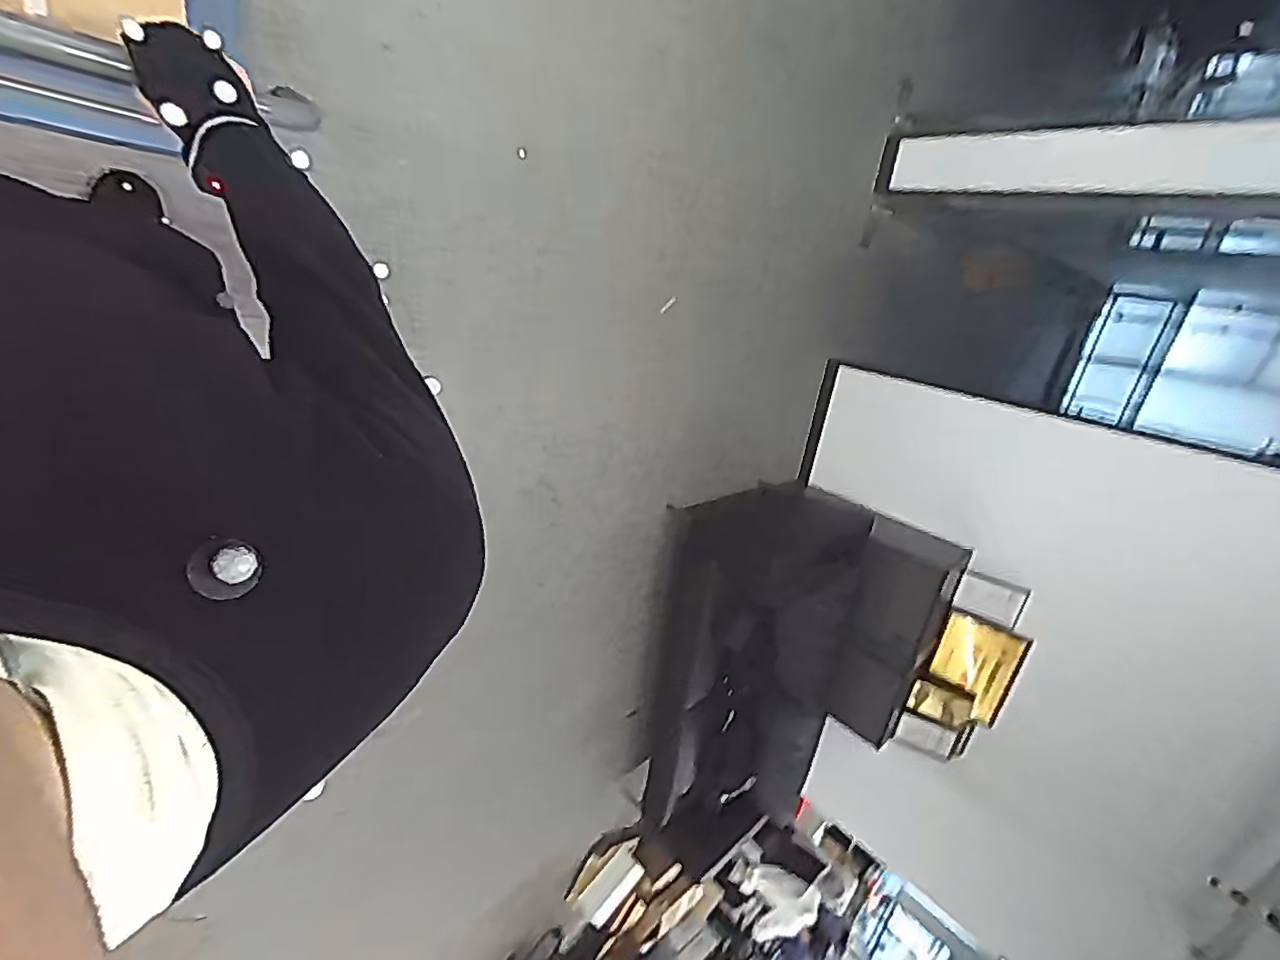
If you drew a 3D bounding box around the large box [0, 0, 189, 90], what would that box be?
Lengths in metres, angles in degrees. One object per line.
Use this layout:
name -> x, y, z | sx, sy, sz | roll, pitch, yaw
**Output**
large box -> -0.847, -0.819, 0.721 | 0.320, 0.320, 0.408 | -11, 118, -43
